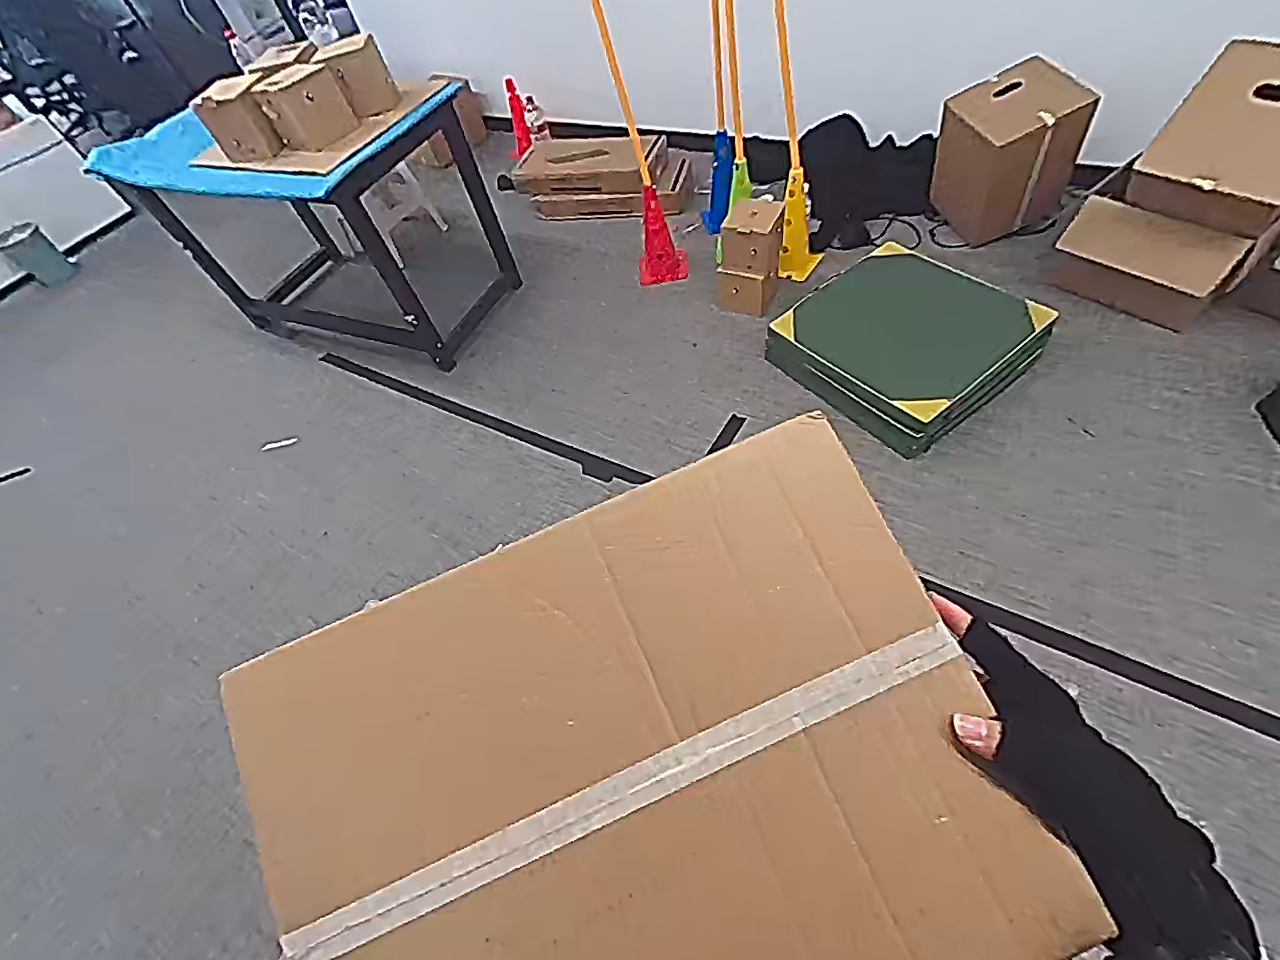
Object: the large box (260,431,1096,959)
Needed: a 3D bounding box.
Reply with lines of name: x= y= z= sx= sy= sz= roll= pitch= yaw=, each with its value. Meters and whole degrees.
large box: x=0.010 y=0.218 z=0.454 sx=0.408 sy=0.320 sz=0.320 roll=-24 pitch=77 yaw=-3
